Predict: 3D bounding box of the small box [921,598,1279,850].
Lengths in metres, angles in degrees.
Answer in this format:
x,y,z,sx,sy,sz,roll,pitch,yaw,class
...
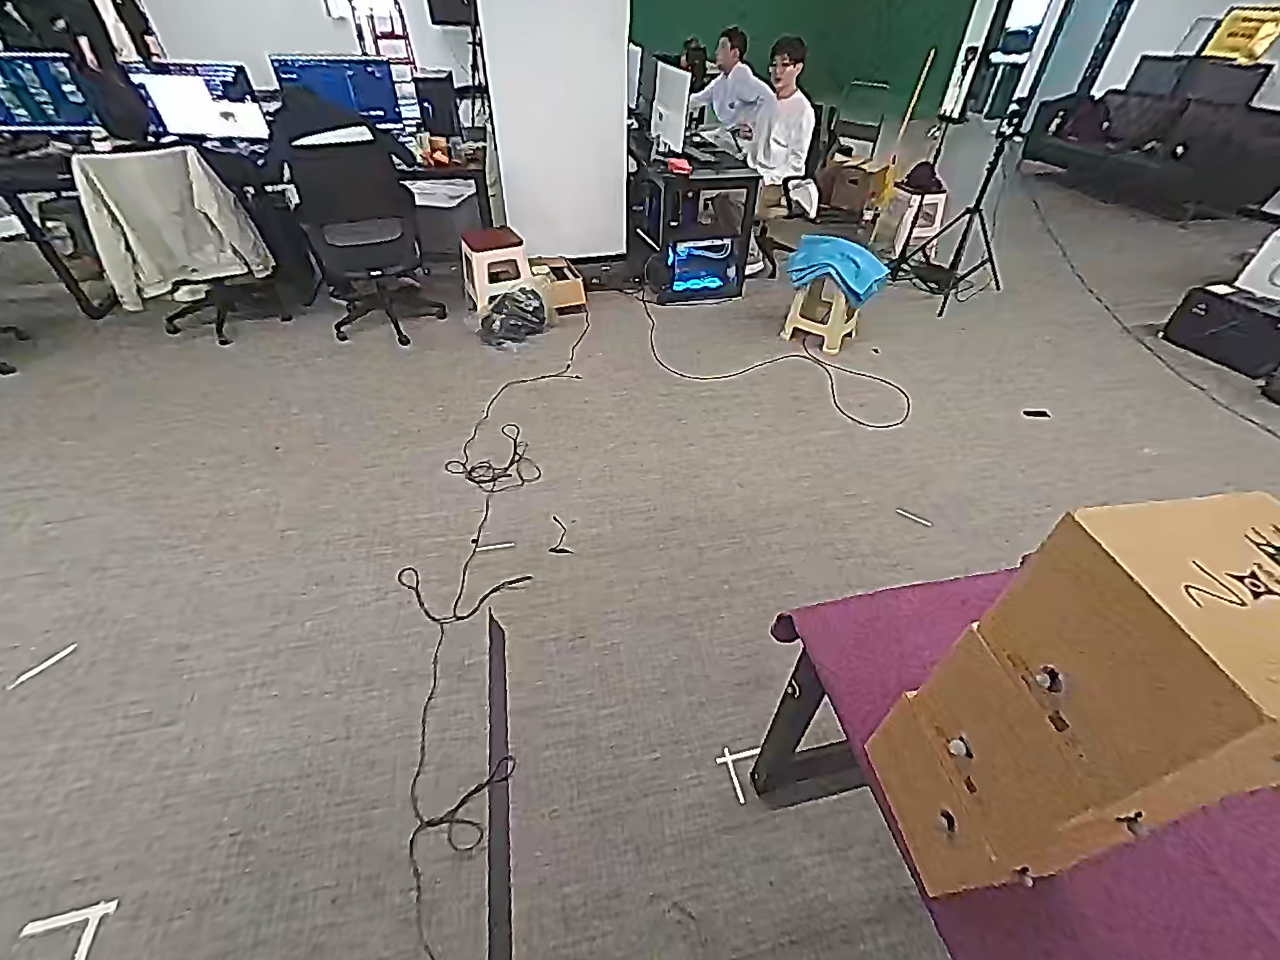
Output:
x,y,z,sx,sy,sz,roll,pitch,yaw,class
0.424,0.242,0.538,0.179,0.176,0.168,-6,43,-7,small box

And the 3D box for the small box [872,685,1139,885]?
x,y,z,sx,sy,sz,roll,pitch,yaw,class
0.412,0.361,0.650,0.168,0.176,0.179,-5,43,-7,small box
